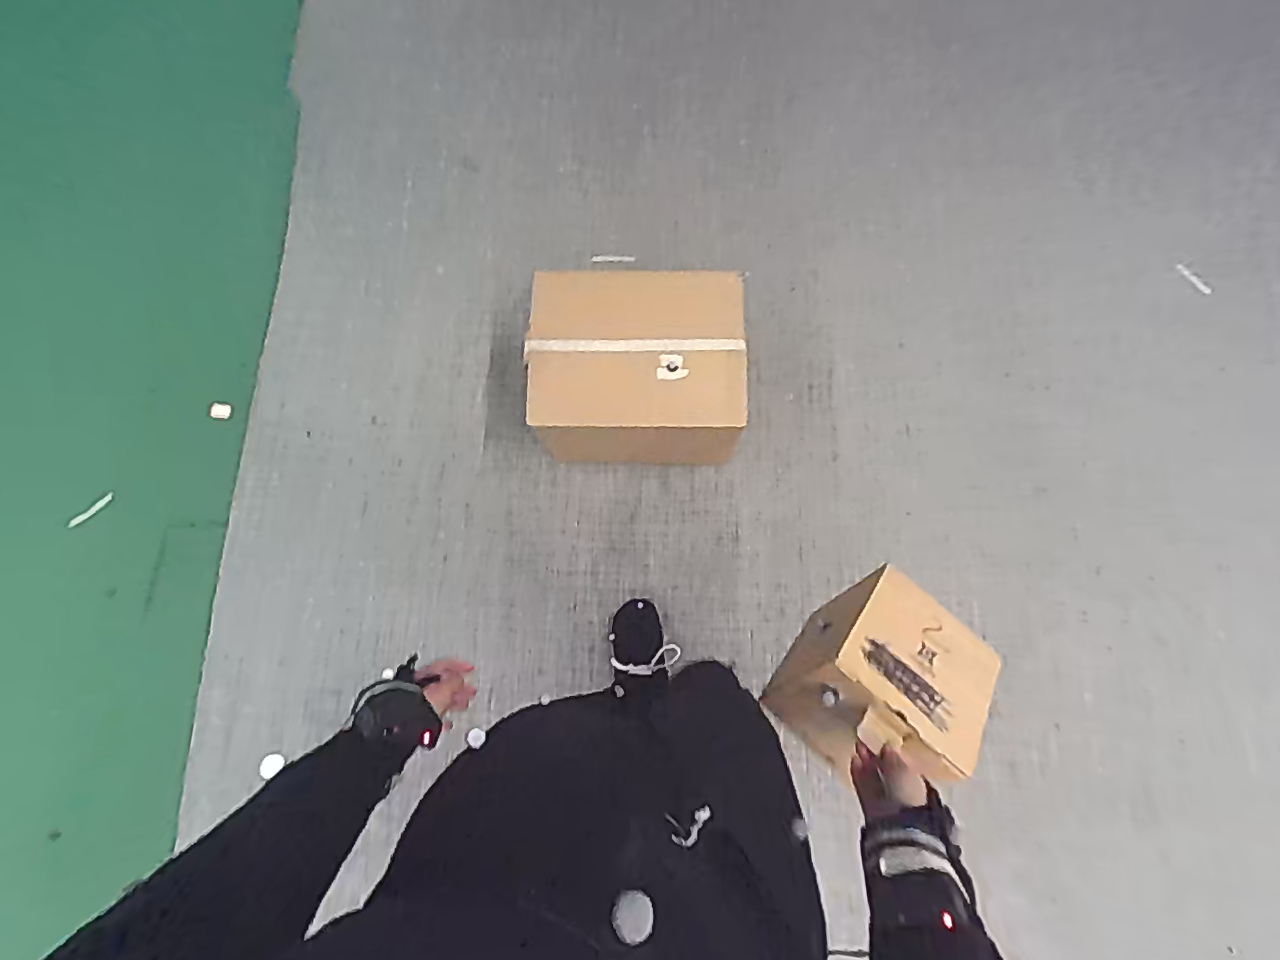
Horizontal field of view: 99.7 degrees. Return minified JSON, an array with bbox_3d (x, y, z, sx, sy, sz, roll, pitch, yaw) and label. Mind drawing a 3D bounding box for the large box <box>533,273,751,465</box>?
[{"bbox_3d":[0.003,-0.216,1.150,0.408,0.320,0.320,1,80,1],"label":"large box"}]
